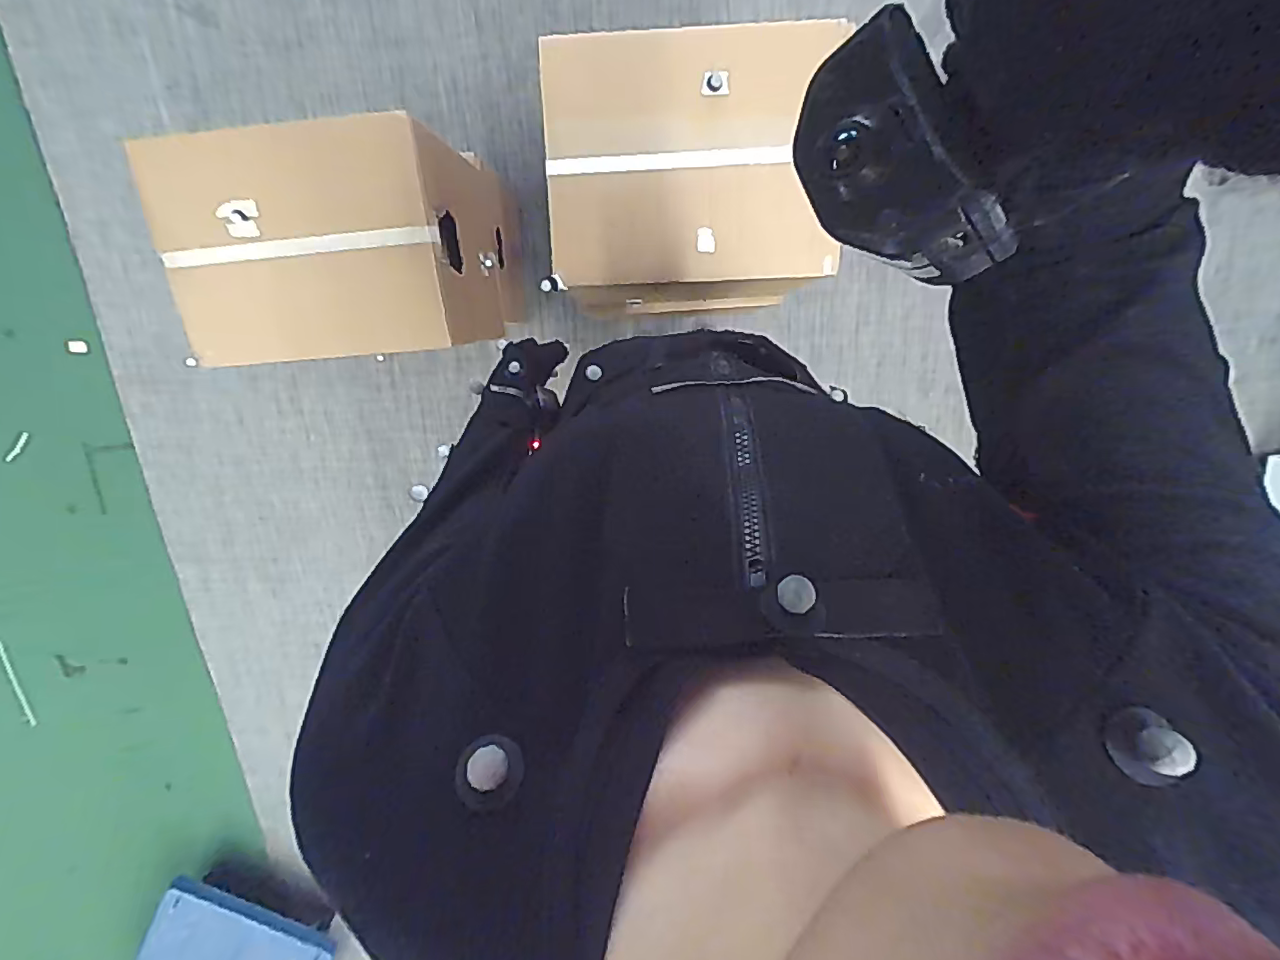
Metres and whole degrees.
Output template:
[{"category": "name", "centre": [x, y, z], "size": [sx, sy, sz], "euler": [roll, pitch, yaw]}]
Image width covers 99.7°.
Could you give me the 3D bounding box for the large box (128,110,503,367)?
[{"category": "large box", "centre": [-0.489, -0.381, 0.916], "size": [0.408, 0.320, 0.320], "euler": [-3, 108, 4]}]
